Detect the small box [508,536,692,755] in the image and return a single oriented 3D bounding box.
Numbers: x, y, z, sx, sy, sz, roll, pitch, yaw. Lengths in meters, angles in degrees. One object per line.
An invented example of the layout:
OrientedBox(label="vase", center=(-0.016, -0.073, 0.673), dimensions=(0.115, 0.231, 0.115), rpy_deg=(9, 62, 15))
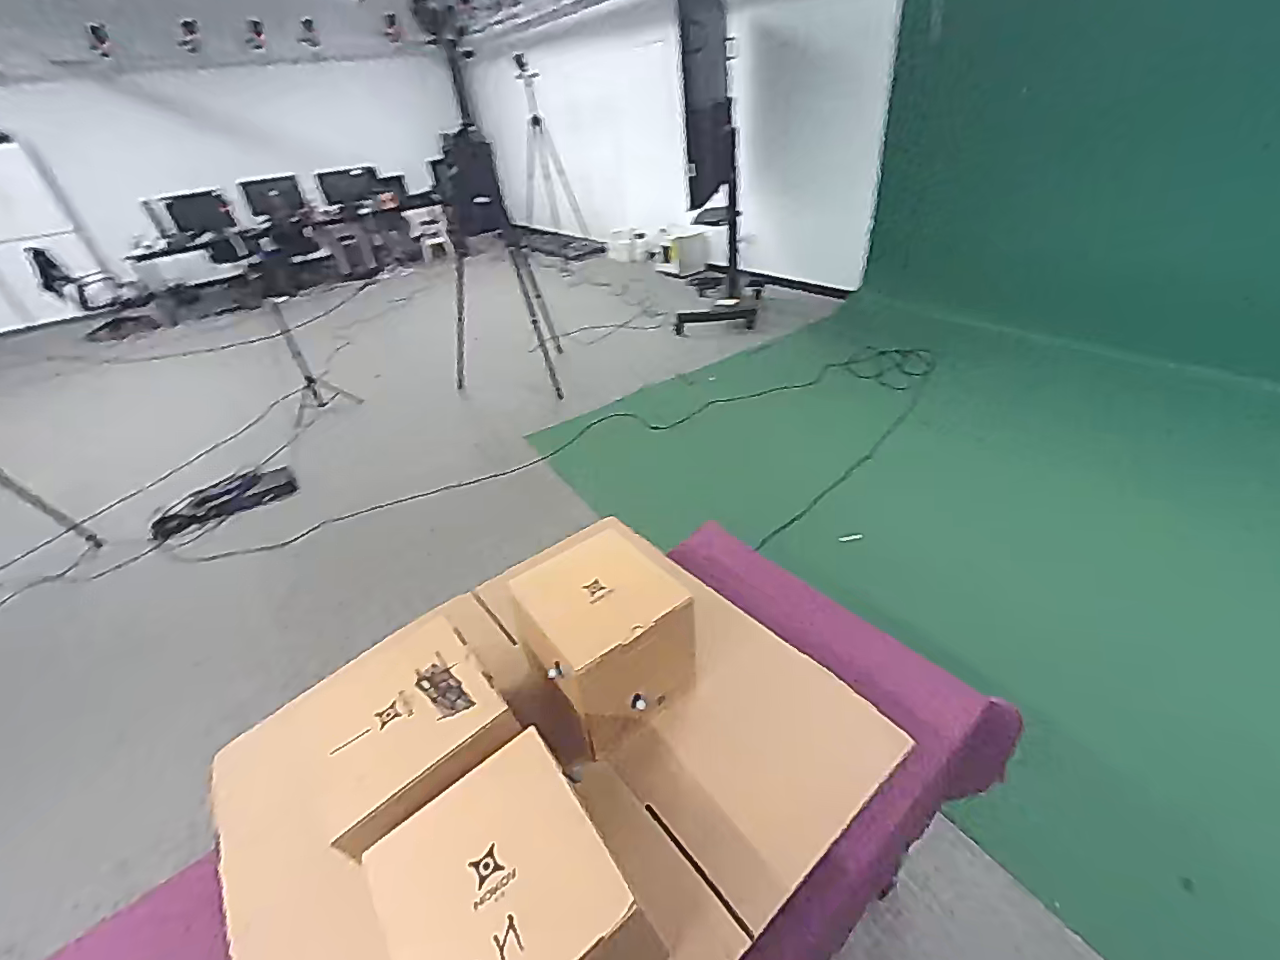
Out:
OrientedBox(label="small box", center=(-0.049, 0.209, 0.703), dimensions=(0.168, 0.176, 0.179), rpy_deg=(-26, 39, -28))
